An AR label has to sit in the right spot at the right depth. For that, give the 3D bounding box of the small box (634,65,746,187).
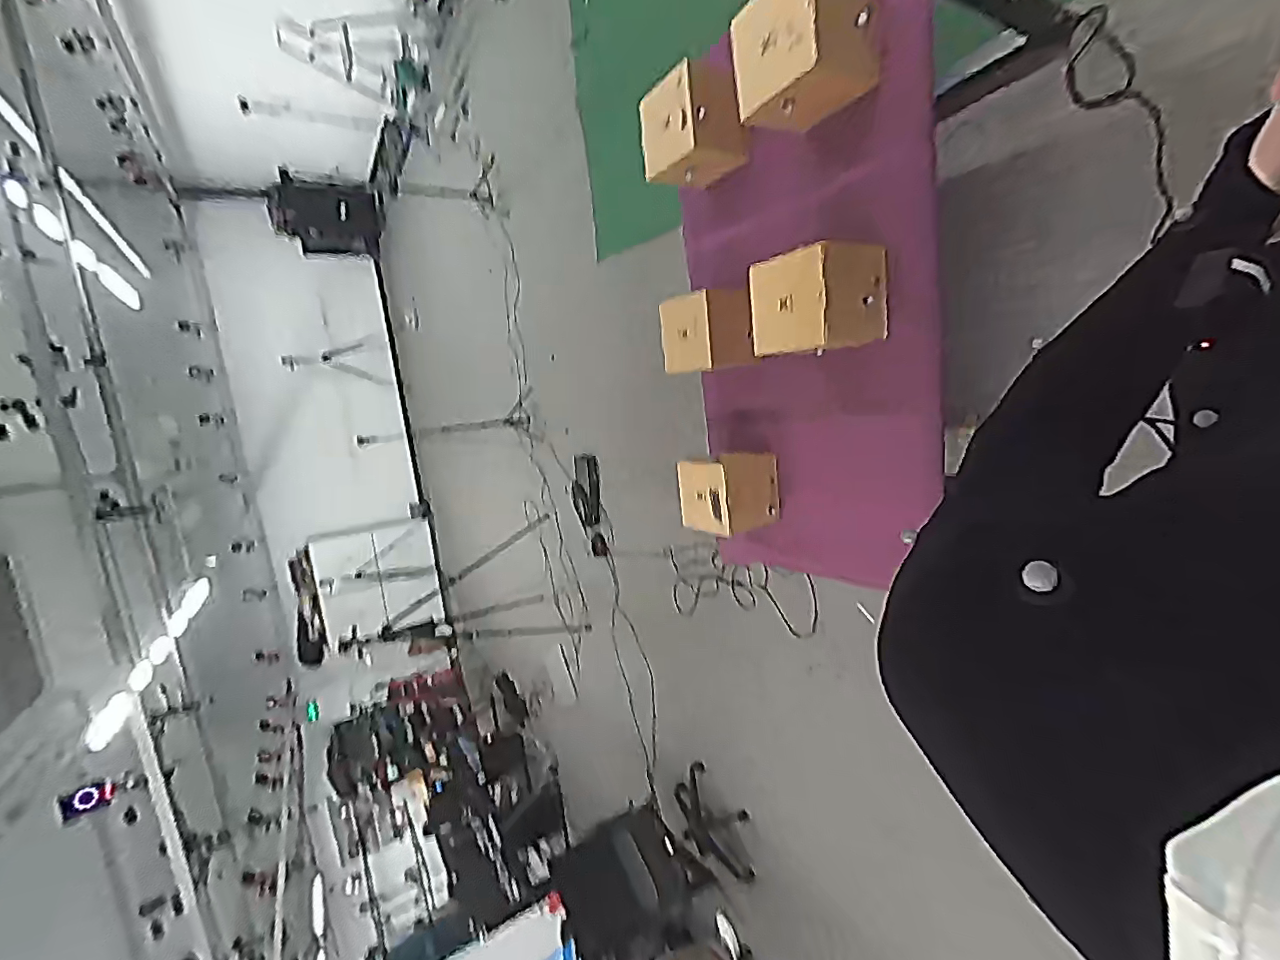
[{"bbox_3d":[0.110,-0.767,1.195,0.179,0.176,0.168,7,109,57],"label":"small box"}]

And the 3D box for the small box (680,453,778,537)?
[{"bbox_3d":[0.223,0.028,1.322,0.179,0.176,0.168,7,107,56],"label":"small box"}]

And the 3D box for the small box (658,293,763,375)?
[{"bbox_3d":[0.166,-0.342,1.275,0.179,0.176,0.168,9,110,55],"label":"small box"}]

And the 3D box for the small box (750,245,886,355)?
[{"bbox_3d":[0.332,-0.331,1.016,0.179,0.176,0.168,8,108,57],"label":"small box"}]

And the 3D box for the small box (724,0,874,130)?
[{"bbox_3d":[0.274,-0.739,0.939,0.179,0.176,0.168,4,106,57],"label":"small box"}]
